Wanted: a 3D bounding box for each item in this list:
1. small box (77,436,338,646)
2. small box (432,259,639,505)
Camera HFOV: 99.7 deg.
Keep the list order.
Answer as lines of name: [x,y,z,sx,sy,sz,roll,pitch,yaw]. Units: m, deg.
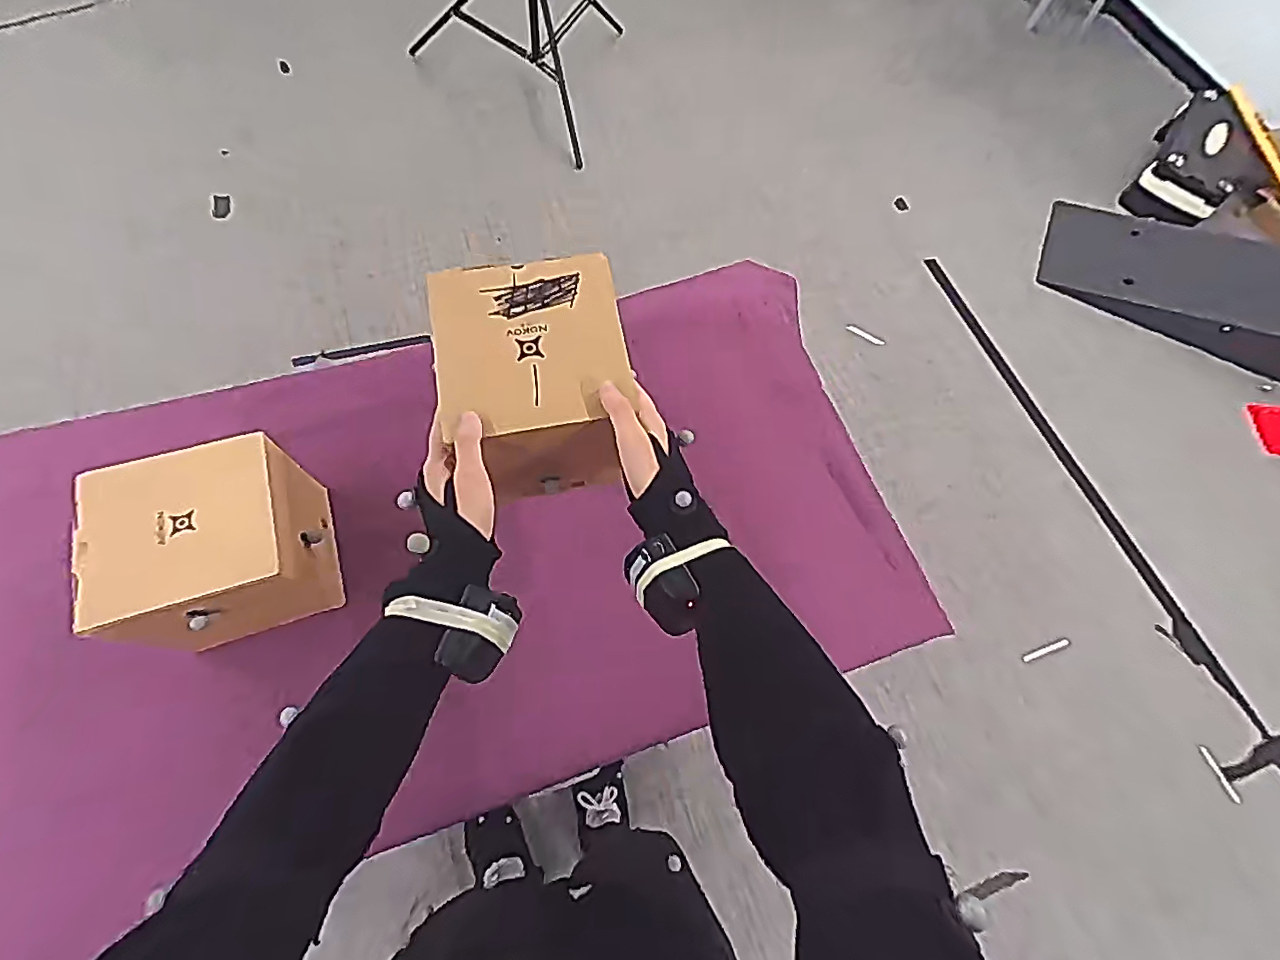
small box: [-0.465,0.075,0.609,0.179,0.176,0.168,-17,70,-12]
small box: [-0.101,-0.091,0.554,0.168,0.176,0.179,-10,71,-7]
